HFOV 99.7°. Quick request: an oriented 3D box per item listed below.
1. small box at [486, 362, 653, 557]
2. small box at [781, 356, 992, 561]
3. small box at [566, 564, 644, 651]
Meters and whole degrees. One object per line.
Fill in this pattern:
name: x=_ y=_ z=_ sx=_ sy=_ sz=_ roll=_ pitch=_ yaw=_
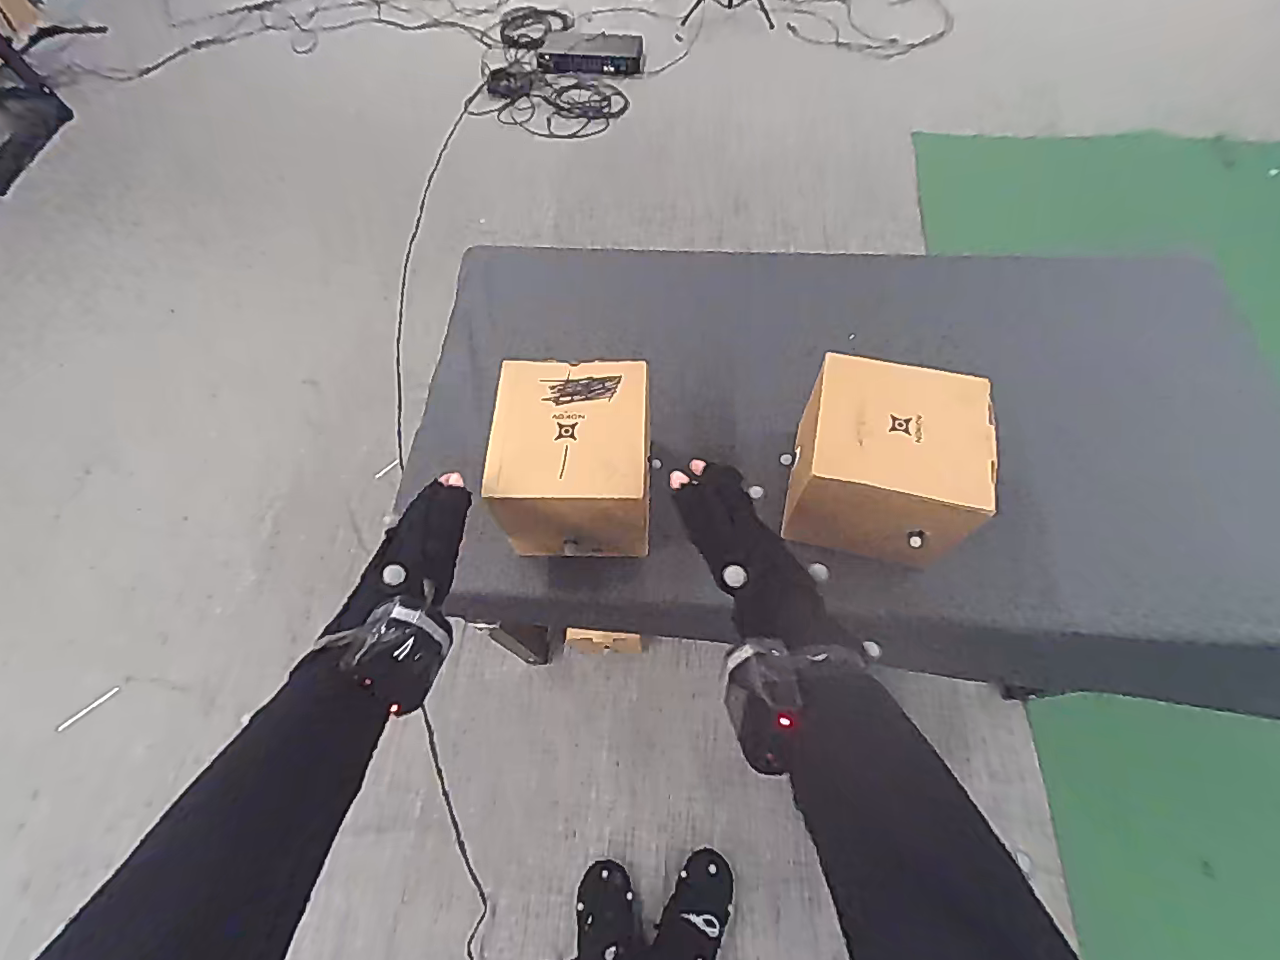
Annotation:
small box: x=-0.069 y=-0.020 z=0.647 sx=0.168 sy=0.176 sz=0.179 roll=0 pitch=62 yaw=2
small box: x=0.277 y=-0.017 z=0.637 sx=0.179 sy=0.176 sz=0.168 roll=11 pitch=62 yaw=9
small box: x=-0.076 y=0.311 z=1.300 sx=0.168 sy=0.176 sz=0.179 roll=0 pitch=63 yaw=3
